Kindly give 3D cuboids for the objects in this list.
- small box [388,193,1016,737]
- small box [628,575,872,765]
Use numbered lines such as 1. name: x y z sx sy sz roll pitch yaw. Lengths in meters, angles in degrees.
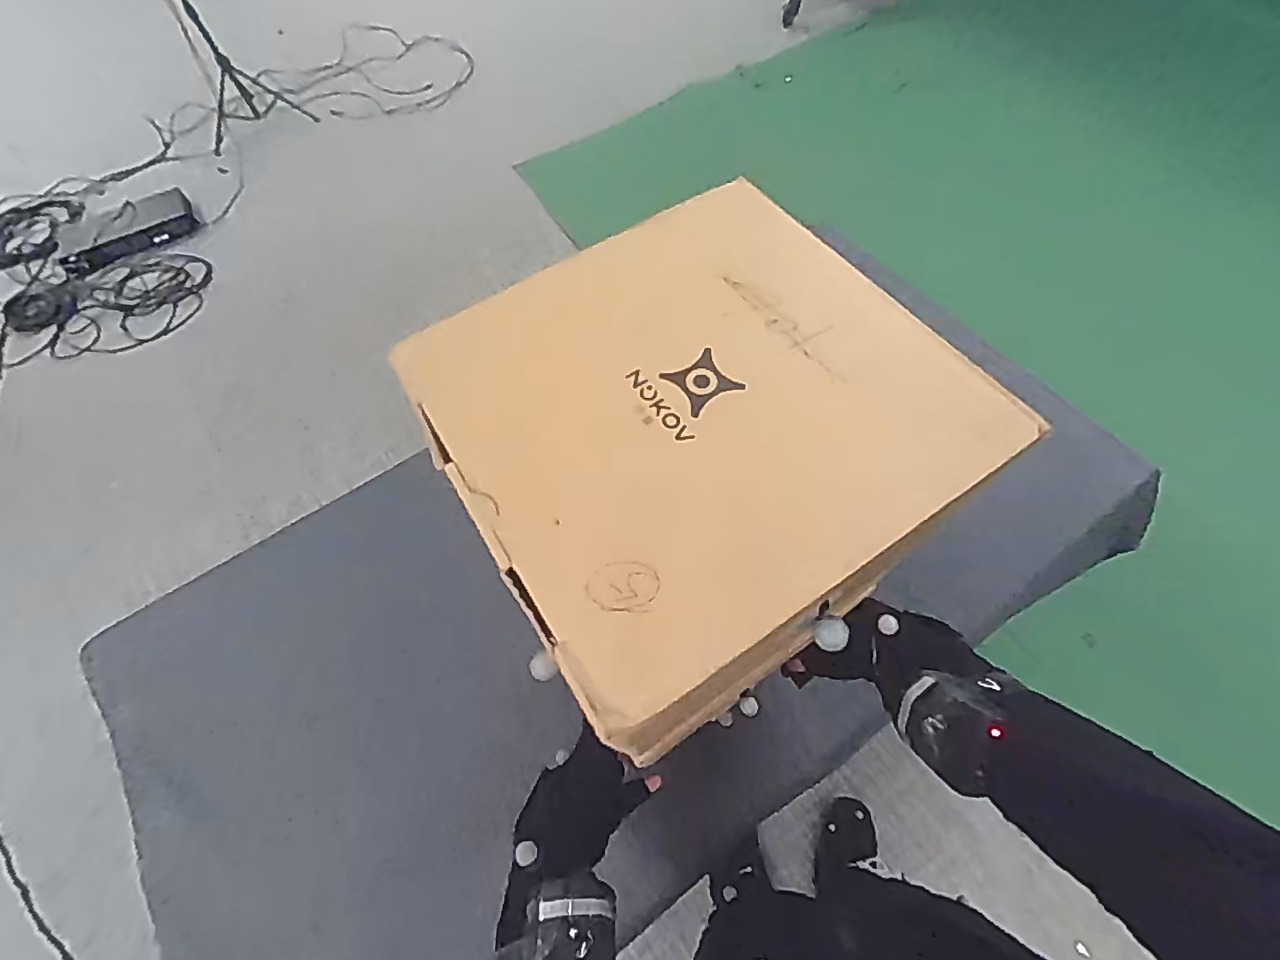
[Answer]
1. small box: 0.018 0.006 0.268 0.179 0.176 0.168 -31 66 -13
2. small box: 0.029 0.085 0.409 0.179 0.176 0.168 -34 66 -15
